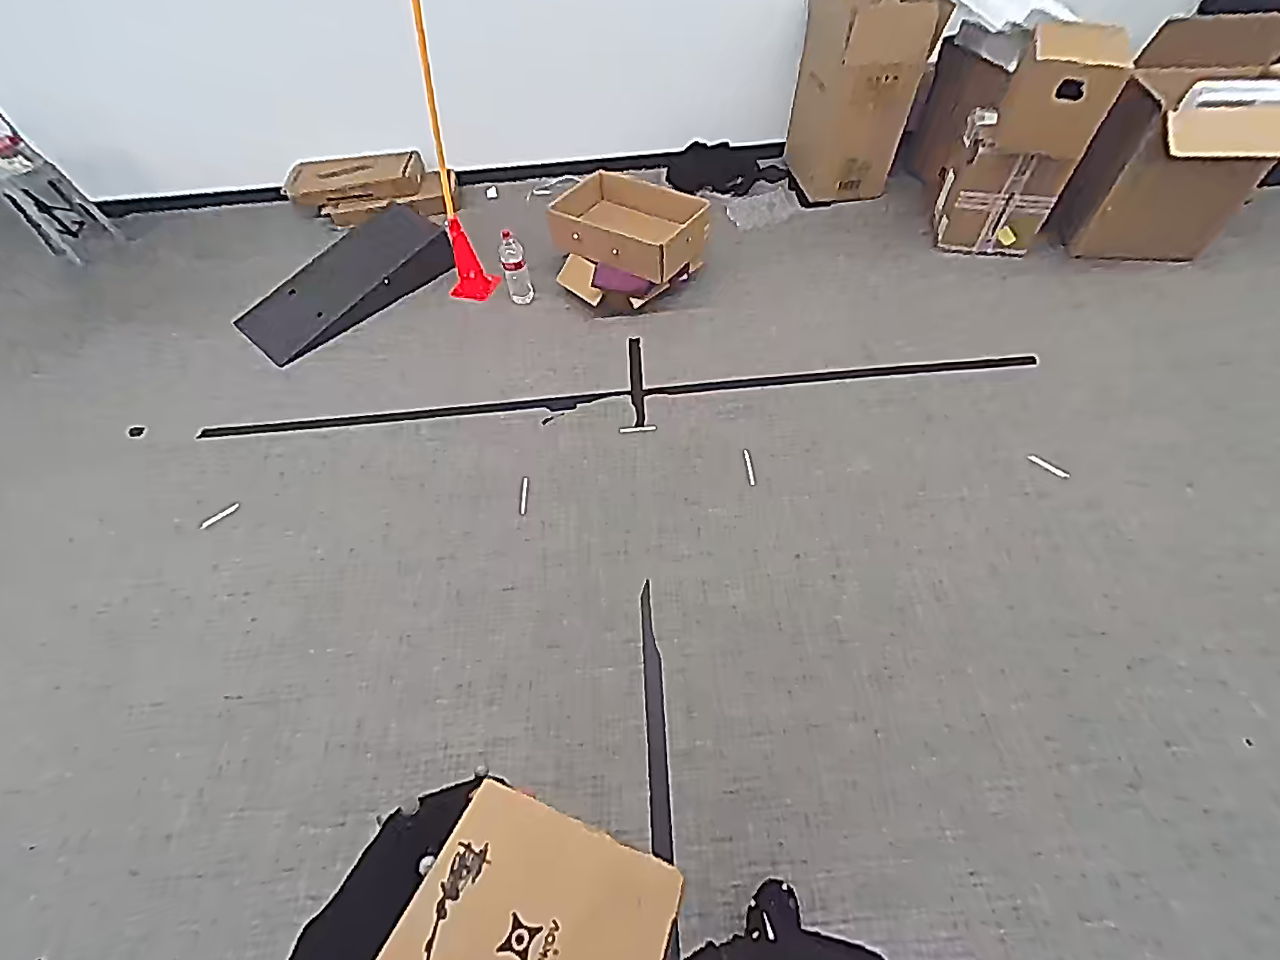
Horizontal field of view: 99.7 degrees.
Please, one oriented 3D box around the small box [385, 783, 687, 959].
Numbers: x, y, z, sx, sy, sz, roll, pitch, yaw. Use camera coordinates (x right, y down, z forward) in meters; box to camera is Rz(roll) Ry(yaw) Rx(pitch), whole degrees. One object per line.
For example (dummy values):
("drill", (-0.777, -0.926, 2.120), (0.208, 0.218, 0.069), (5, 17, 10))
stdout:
("small box", (-0.084, 0.379, 0.410), (0.179, 0.176, 0.168), (19, 36, 10))
